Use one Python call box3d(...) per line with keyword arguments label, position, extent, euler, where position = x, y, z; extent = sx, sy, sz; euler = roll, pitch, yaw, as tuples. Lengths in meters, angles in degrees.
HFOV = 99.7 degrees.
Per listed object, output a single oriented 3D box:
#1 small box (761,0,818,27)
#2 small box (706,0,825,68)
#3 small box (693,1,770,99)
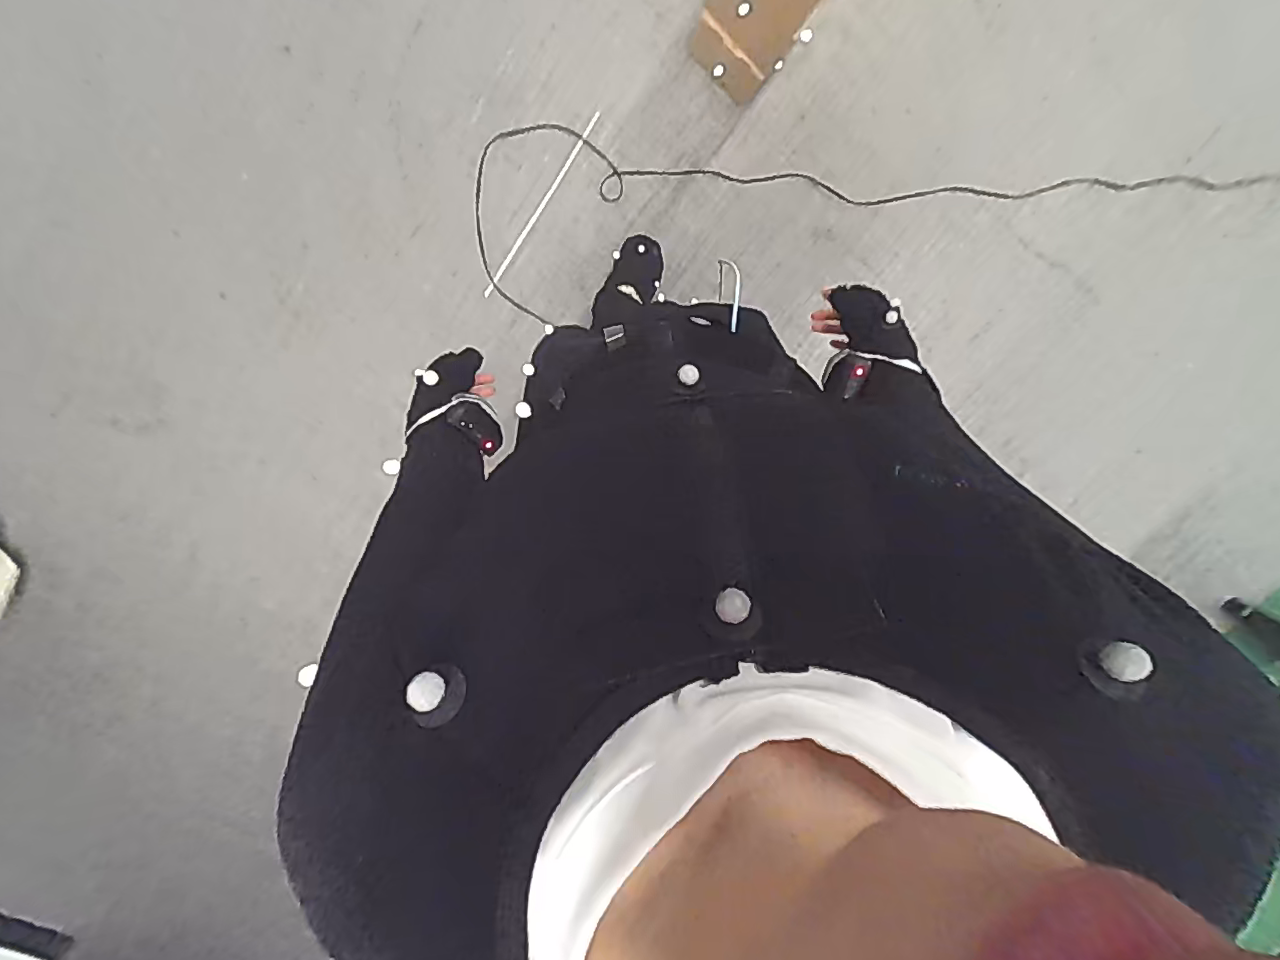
box3d(label="small box", position=(0.240, -0.823, 0.782), extent=(0.179, 0.176, 0.168), euler=(37, 103, -16))
box3d(label="small box", position=(0.237, -0.873, 0.937), extent=(0.179, 0.176, 0.168), euler=(37, 103, -16))
box3d(label="small box", position=(0.222, -0.923, 1.093), extent=(0.168, 0.176, 0.179), euler=(37, 104, -15))
